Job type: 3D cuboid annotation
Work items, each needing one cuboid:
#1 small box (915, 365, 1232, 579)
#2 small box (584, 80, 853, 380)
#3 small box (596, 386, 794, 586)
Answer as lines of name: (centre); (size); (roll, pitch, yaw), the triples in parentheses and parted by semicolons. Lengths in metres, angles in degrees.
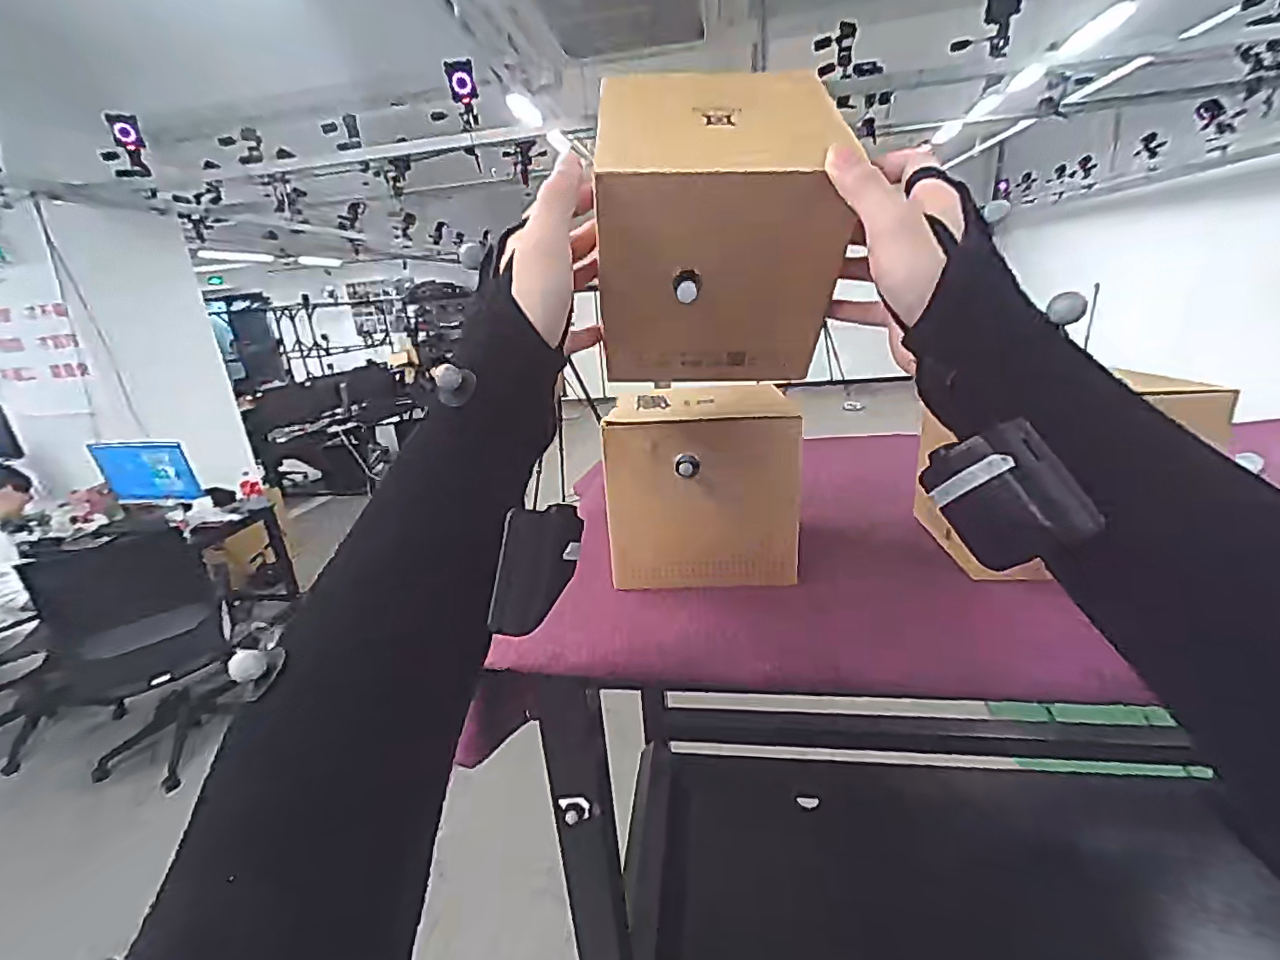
small box: (0.388, -0.013, 0.526); (0.179, 0.176, 0.168); (-2, 17, 10)
small box: (0.050, -0.195, 0.437); (0.168, 0.176, 0.179); (-1, 50, 1)
small box: (0.059, 0.001, 0.566); (0.179, 0.176, 0.168); (-2, 18, 6)
